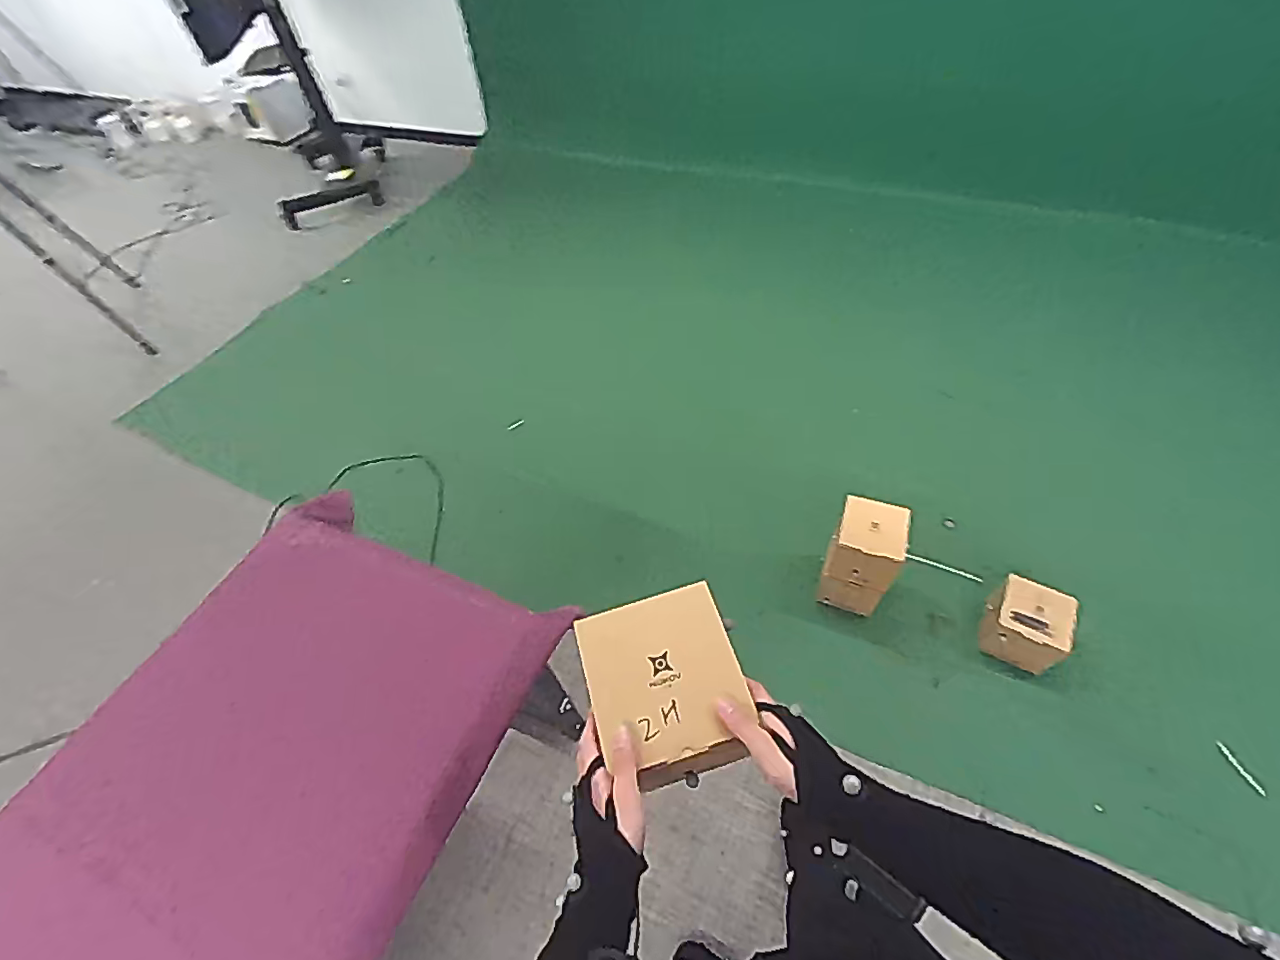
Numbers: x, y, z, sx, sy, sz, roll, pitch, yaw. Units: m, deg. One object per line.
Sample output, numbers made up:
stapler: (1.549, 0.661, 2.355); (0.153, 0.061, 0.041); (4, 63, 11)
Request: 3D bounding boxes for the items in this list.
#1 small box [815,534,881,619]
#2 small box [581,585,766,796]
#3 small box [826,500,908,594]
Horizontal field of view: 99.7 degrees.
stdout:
small box: (0.639, 0.296, 1.643); (0.168, 0.176, 0.179); (16, 54, 17)
small box: (0.035, 0.256, 0.652); (0.168, 0.176, 0.179); (-15, 55, -4)
small box: (0.633, 0.191, 1.519); (0.168, 0.176, 0.179); (15, 55, 16)
